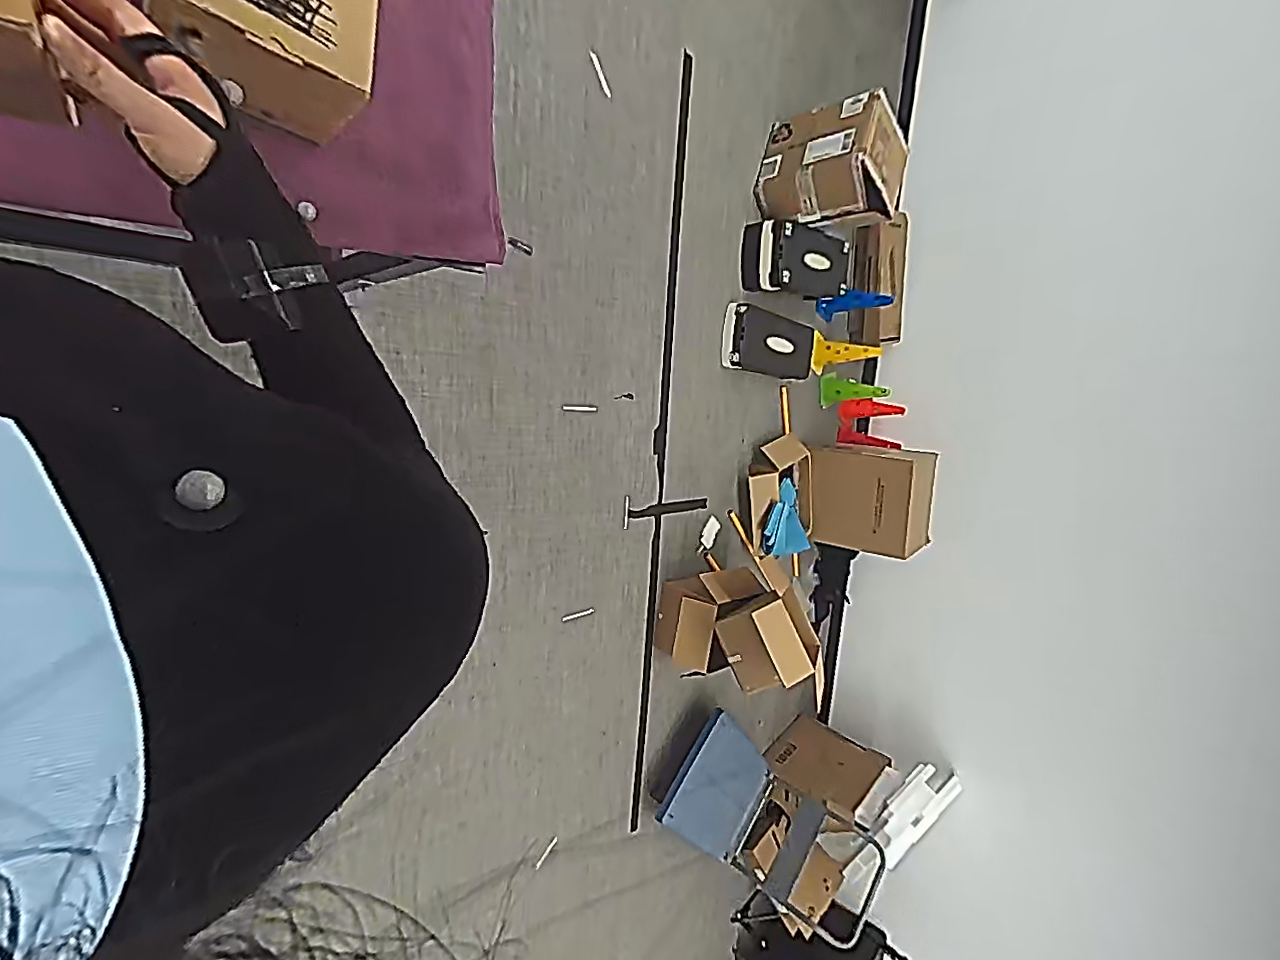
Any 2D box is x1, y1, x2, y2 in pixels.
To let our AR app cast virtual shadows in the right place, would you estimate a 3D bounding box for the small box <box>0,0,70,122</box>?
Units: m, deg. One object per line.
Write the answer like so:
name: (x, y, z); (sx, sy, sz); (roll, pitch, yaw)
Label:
small box: (-0.414, -0.313, 0.260); (0.168, 0.176, 0.179); (-11, 109, -40)
